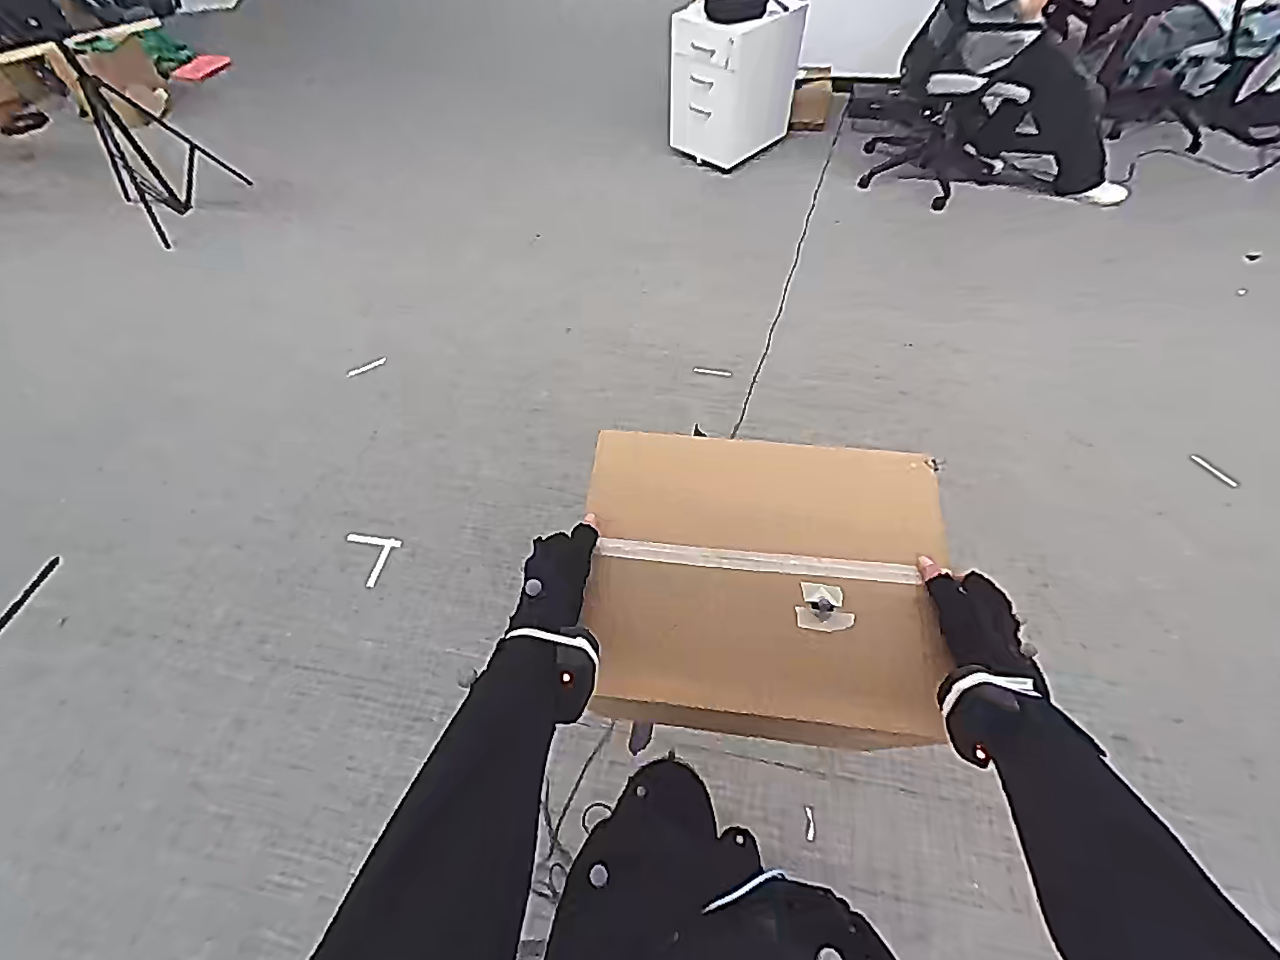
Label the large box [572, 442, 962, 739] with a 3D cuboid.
[{"bbox_3d":[0.143,0.166,0.749,0.408,0.320,0.320,4,64,5],"label":"large box"}]
